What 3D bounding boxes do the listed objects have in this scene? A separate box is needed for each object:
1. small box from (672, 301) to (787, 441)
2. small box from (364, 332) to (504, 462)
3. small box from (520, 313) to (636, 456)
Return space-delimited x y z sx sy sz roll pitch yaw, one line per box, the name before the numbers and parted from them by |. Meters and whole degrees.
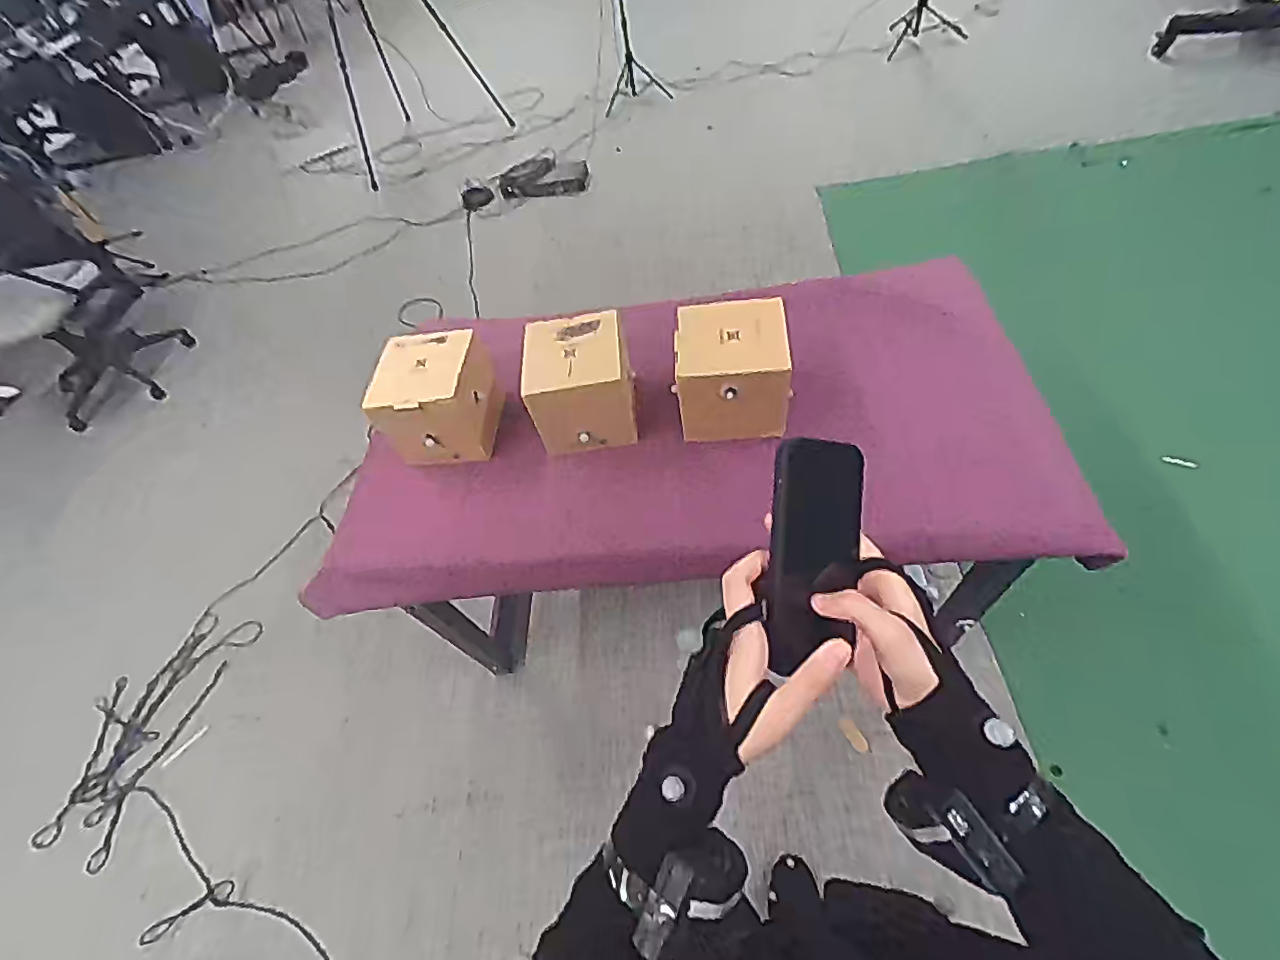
small box | 0.154 -0.179 0.924 0.179 0.176 0.168 -2 56 10
small box | -0.367 -0.144 1.001 0.168 0.176 0.179 -4 55 9
small box | -0.102 -0.166 0.965 0.168 0.176 0.179 -8 55 6
